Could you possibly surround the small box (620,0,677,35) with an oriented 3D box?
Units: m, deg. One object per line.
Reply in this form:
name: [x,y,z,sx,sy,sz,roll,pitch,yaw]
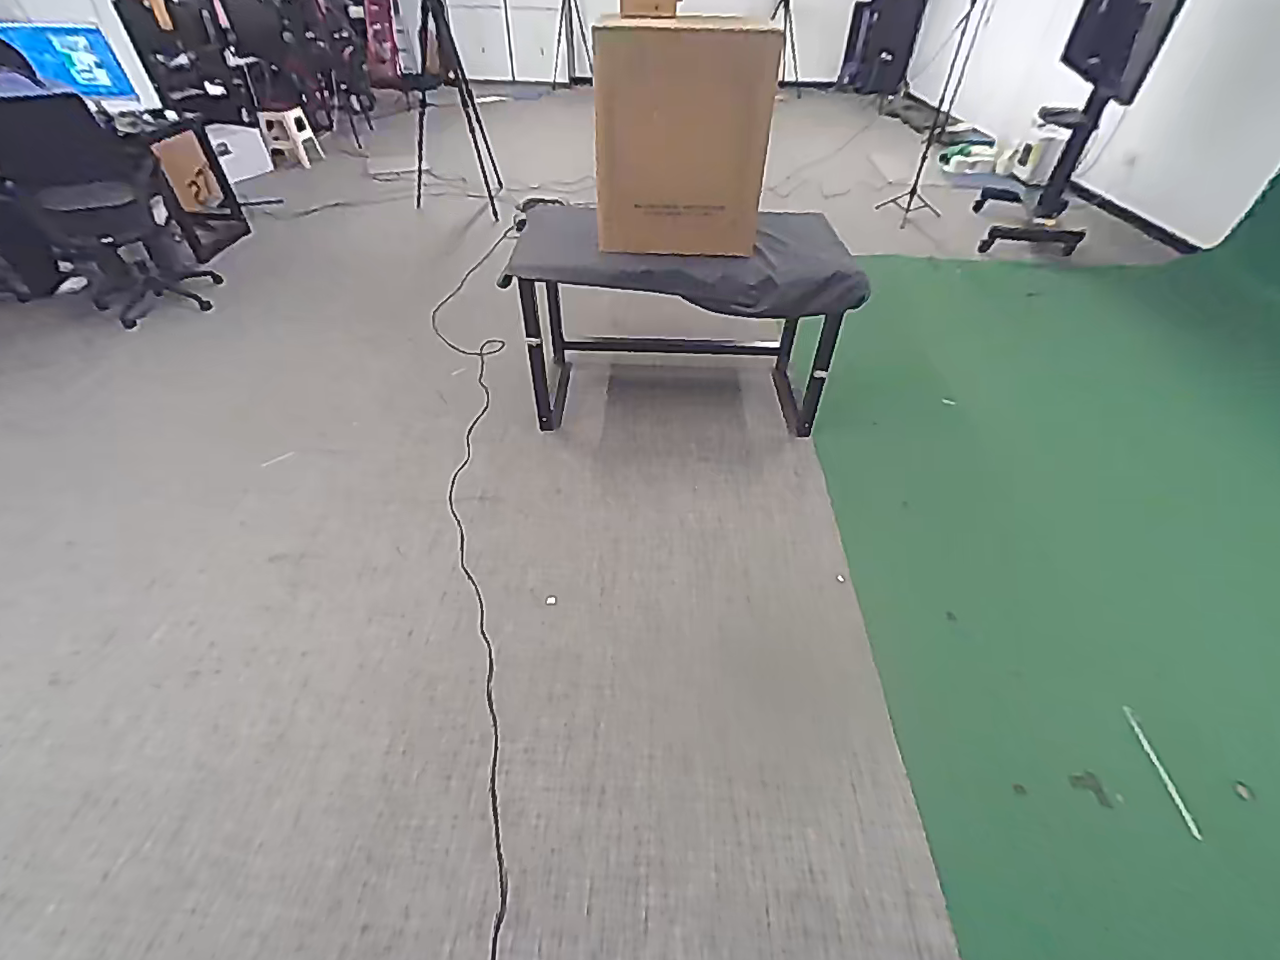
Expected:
small box: [0.026,-1.435,1.602,0.168,0.176,0.179,1,41,2]
